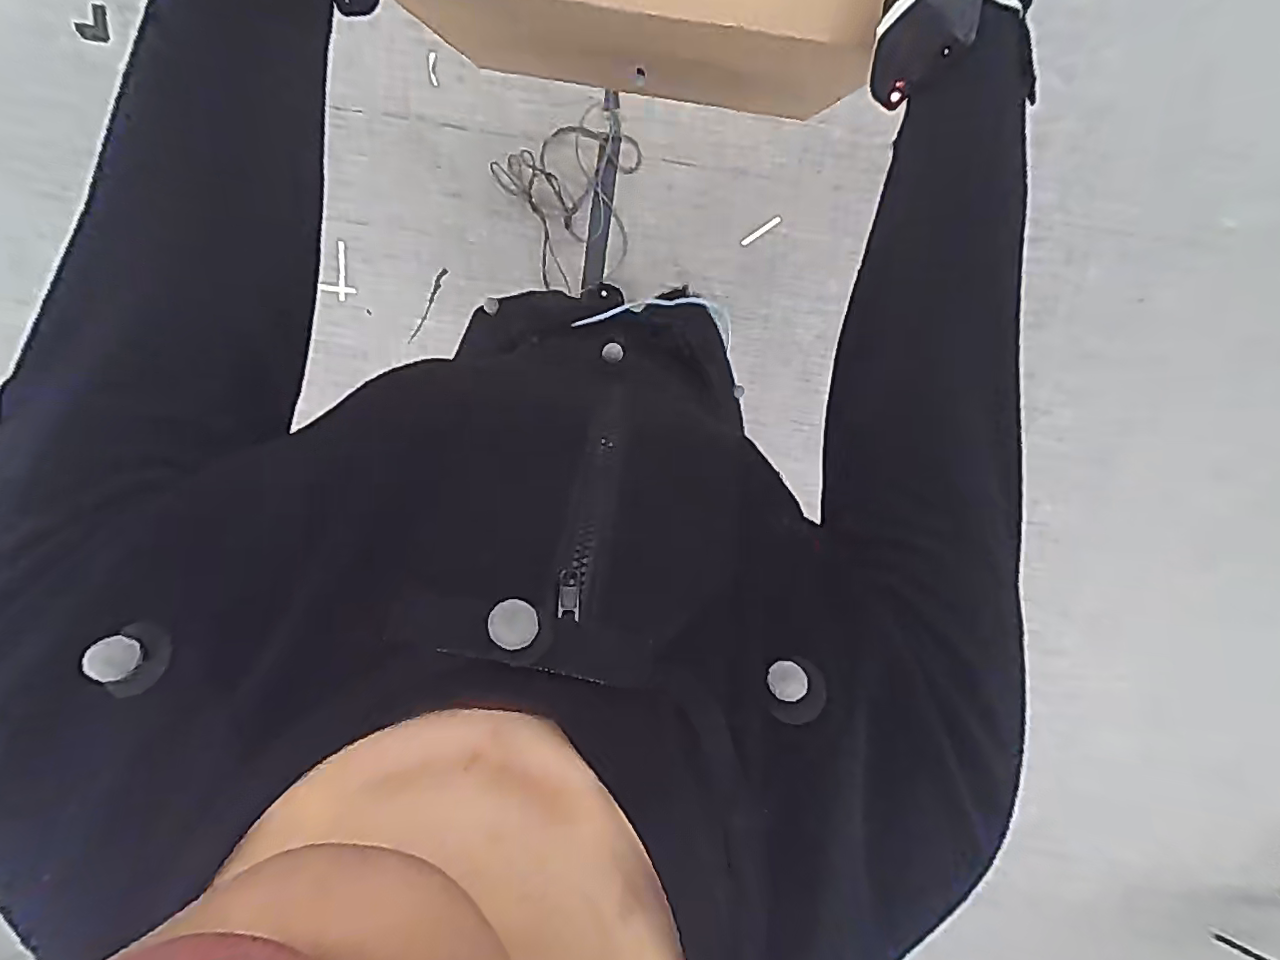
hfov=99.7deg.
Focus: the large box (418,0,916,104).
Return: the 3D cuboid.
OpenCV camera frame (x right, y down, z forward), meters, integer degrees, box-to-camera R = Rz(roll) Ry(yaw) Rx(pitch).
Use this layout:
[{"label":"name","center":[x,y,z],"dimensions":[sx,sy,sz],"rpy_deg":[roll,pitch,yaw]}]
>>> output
[{"label":"large box","center":[0.024,-0.546,0.454],"dimensions":[0.408,0.320,0.320],"rpy_deg":[8,115,-2]}]
